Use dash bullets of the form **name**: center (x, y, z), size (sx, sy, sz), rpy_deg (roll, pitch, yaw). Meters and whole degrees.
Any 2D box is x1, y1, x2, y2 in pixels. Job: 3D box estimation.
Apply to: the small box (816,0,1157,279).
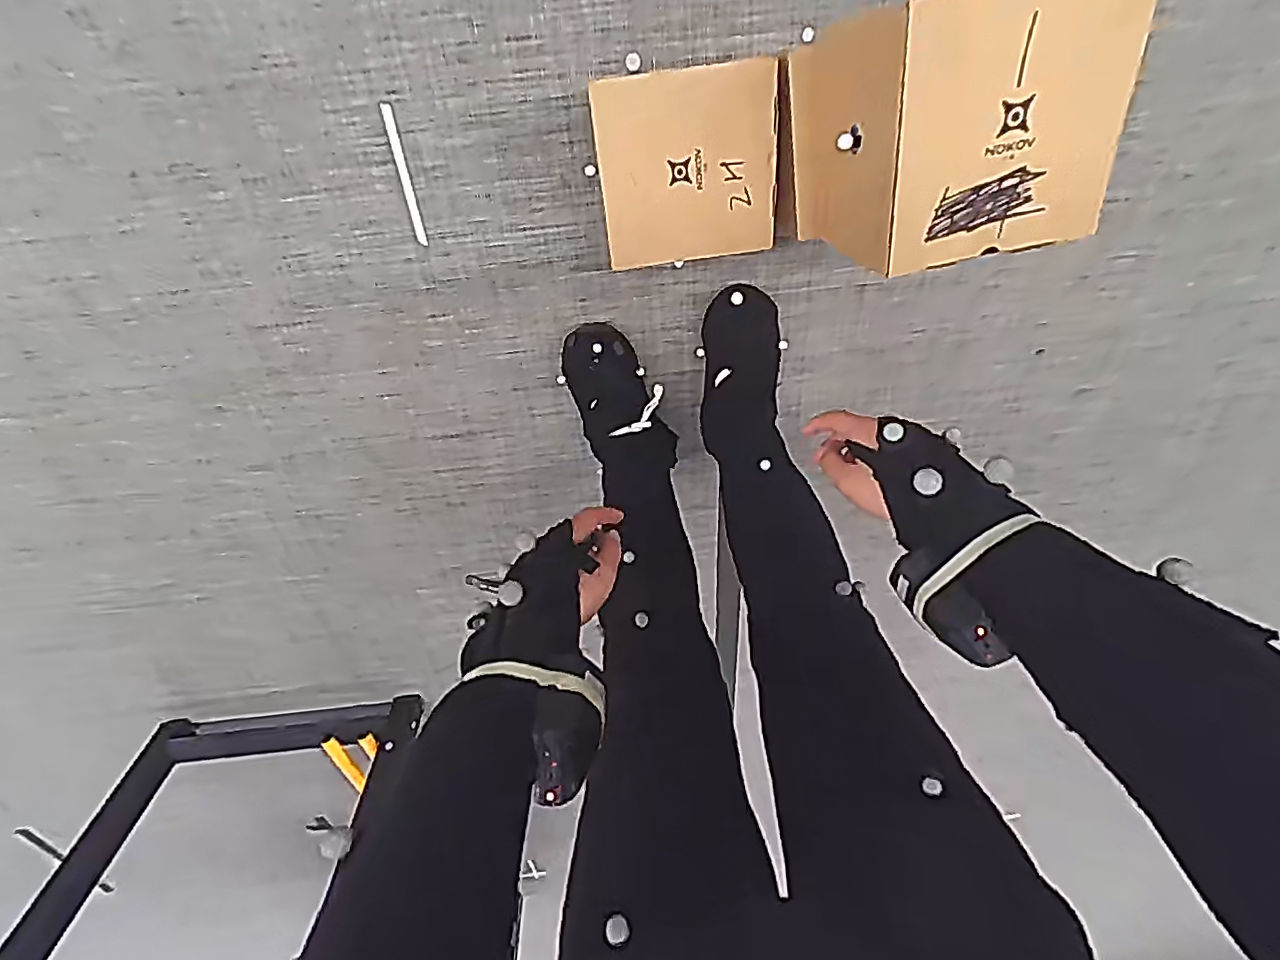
- **small box**: center (0.256, -0.290, 0.452), size (0.168, 0.176, 0.179), rpy_deg (-11, 124, 2)
